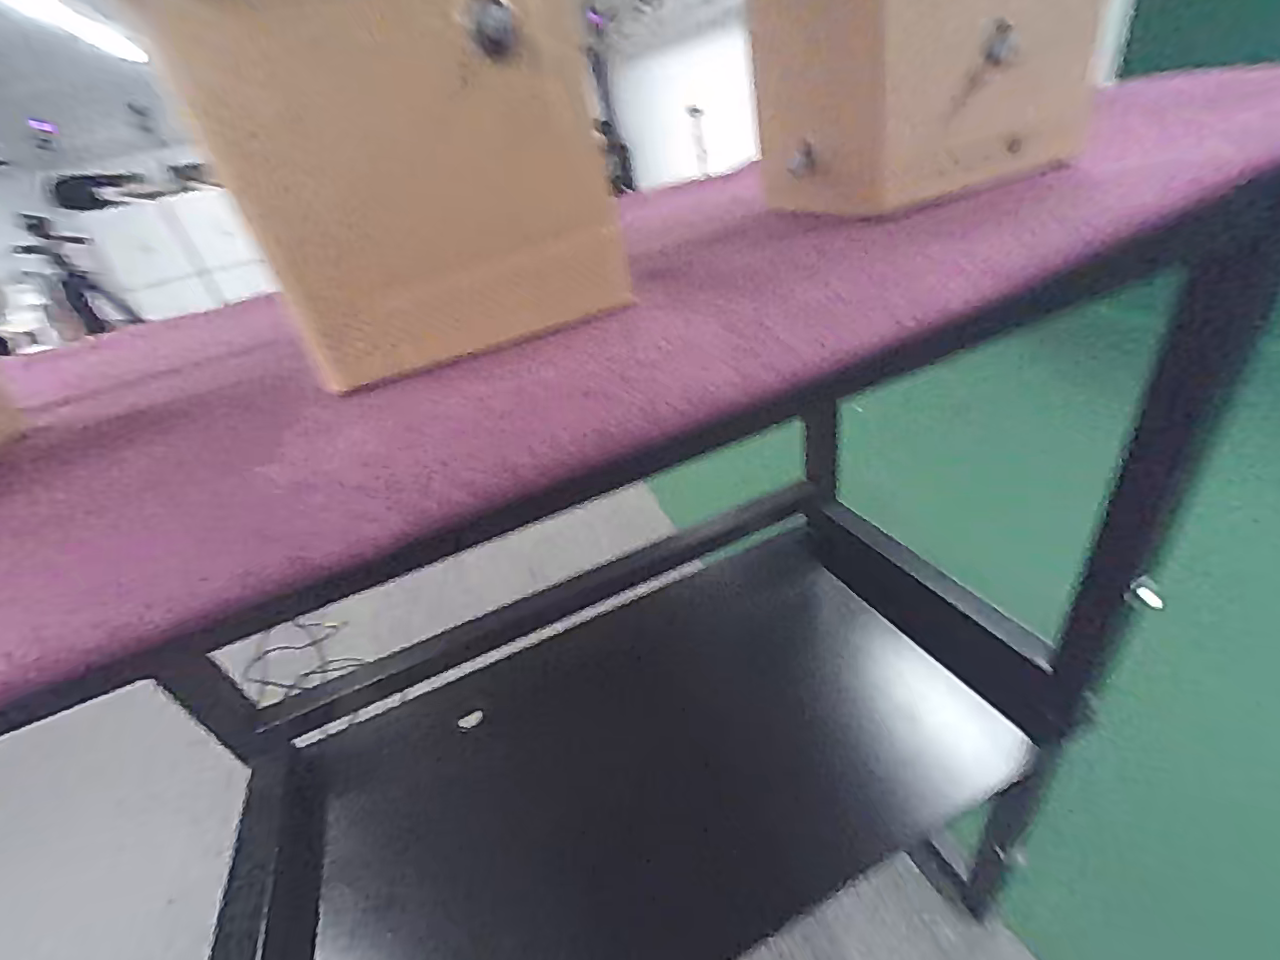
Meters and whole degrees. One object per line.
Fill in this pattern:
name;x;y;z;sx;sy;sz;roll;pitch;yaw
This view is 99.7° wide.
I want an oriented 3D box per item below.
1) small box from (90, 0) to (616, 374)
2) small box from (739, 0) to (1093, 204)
small box;-0.133;-0.176;0.311;0.179;0.176;0.168;-22;33;-14
small box;0.191;-0.313;0.396;0.168;0.176;0.179;-19;32;-7
